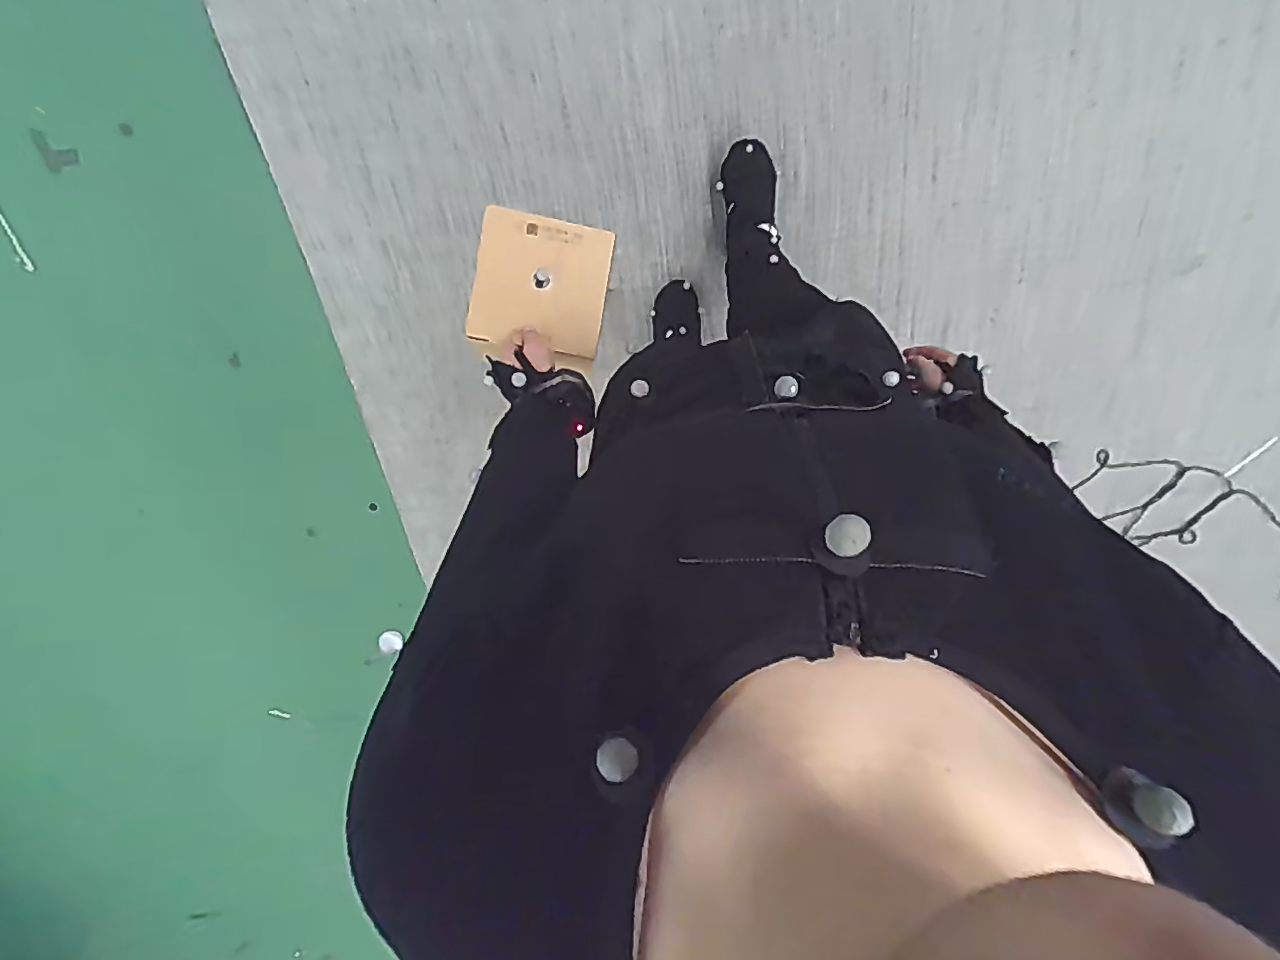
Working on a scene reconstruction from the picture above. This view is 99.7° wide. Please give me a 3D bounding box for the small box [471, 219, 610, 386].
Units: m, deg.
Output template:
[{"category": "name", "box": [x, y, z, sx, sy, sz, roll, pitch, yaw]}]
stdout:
[{"category": "small box", "box": [-0.137, -0.242, 0.766, 0.168, 0.179, 0.176, 7, 88, -9]}]
